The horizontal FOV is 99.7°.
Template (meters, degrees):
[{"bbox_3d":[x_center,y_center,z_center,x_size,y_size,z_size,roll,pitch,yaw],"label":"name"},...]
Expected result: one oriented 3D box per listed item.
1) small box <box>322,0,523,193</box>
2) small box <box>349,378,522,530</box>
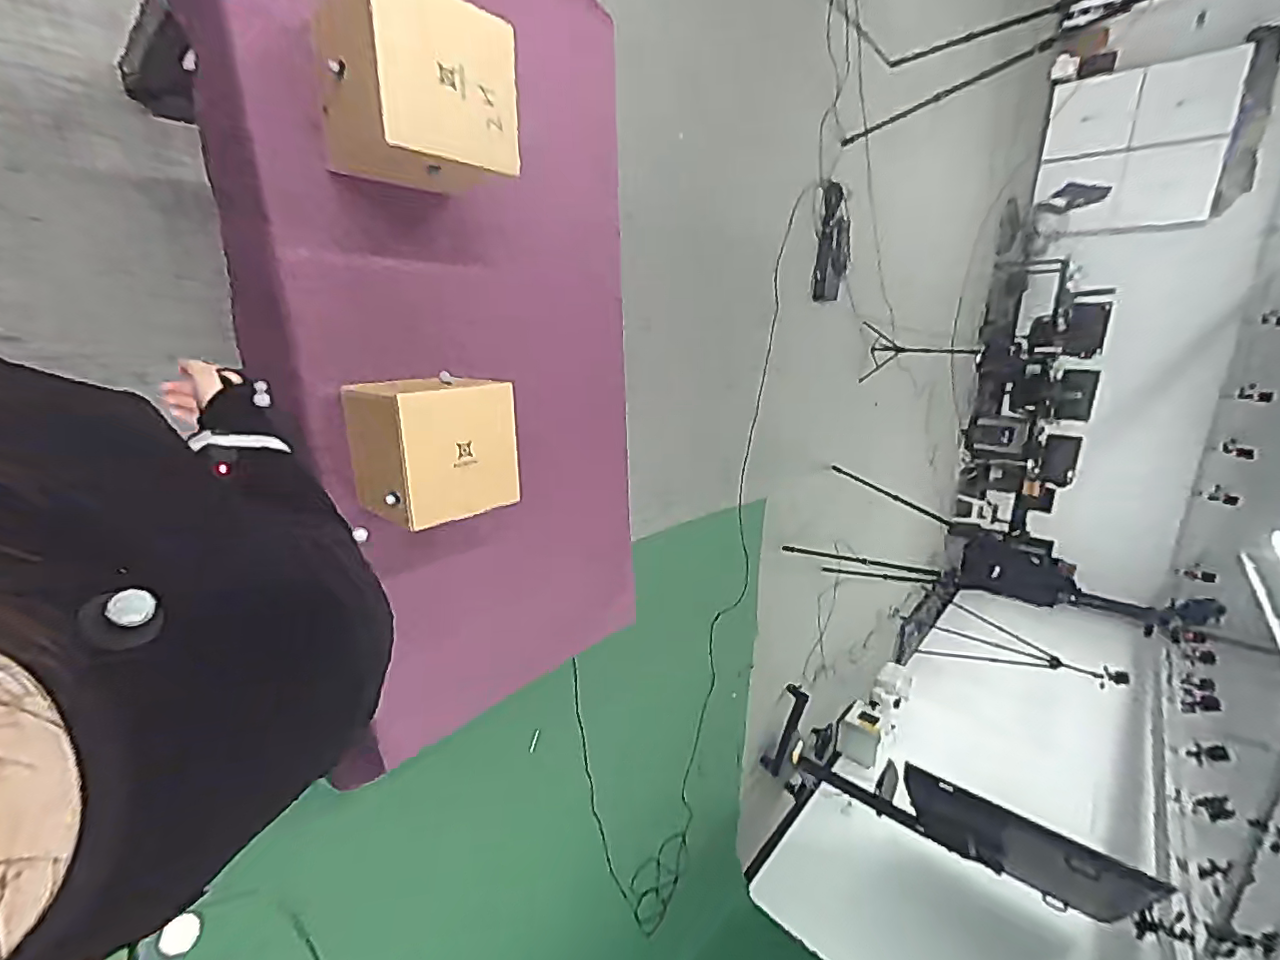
[{"bbox_3d":[-0.267,-0.464,0.661,0.179,0.176,0.168,-16,114,-46],"label":"small box"},{"bbox_3d":[-0.288,-0.050,0.765,0.168,0.176,0.179,-18,115,-45],"label":"small box"}]
